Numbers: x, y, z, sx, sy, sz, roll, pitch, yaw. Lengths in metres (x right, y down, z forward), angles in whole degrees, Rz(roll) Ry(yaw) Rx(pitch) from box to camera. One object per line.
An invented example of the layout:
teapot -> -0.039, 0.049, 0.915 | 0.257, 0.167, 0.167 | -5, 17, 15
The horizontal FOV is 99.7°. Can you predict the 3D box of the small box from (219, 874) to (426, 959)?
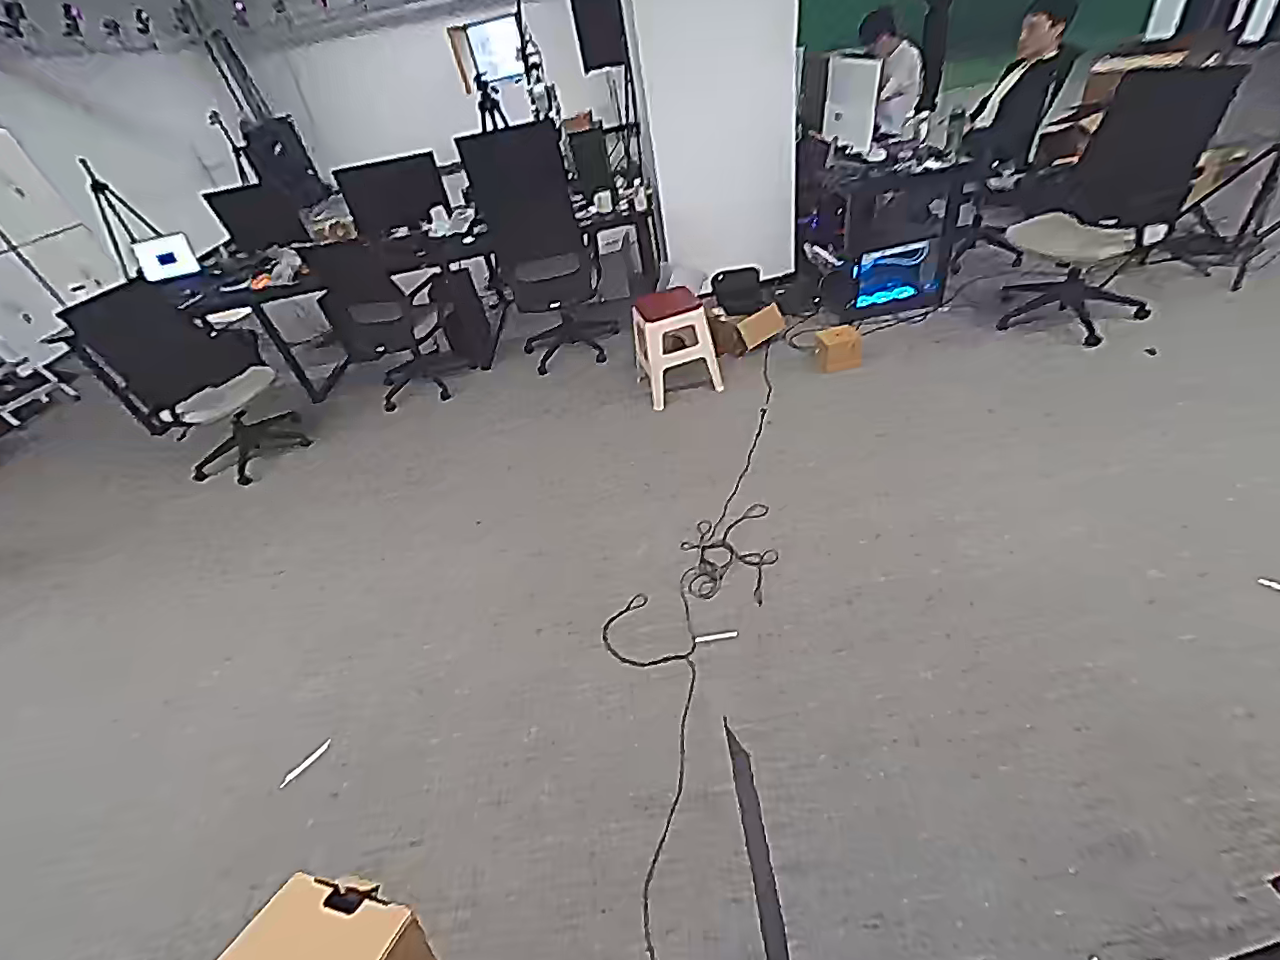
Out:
small box -> -0.305, 0.523, 0.498 | 0.168, 0.176, 0.179 | -2, 20, 22
